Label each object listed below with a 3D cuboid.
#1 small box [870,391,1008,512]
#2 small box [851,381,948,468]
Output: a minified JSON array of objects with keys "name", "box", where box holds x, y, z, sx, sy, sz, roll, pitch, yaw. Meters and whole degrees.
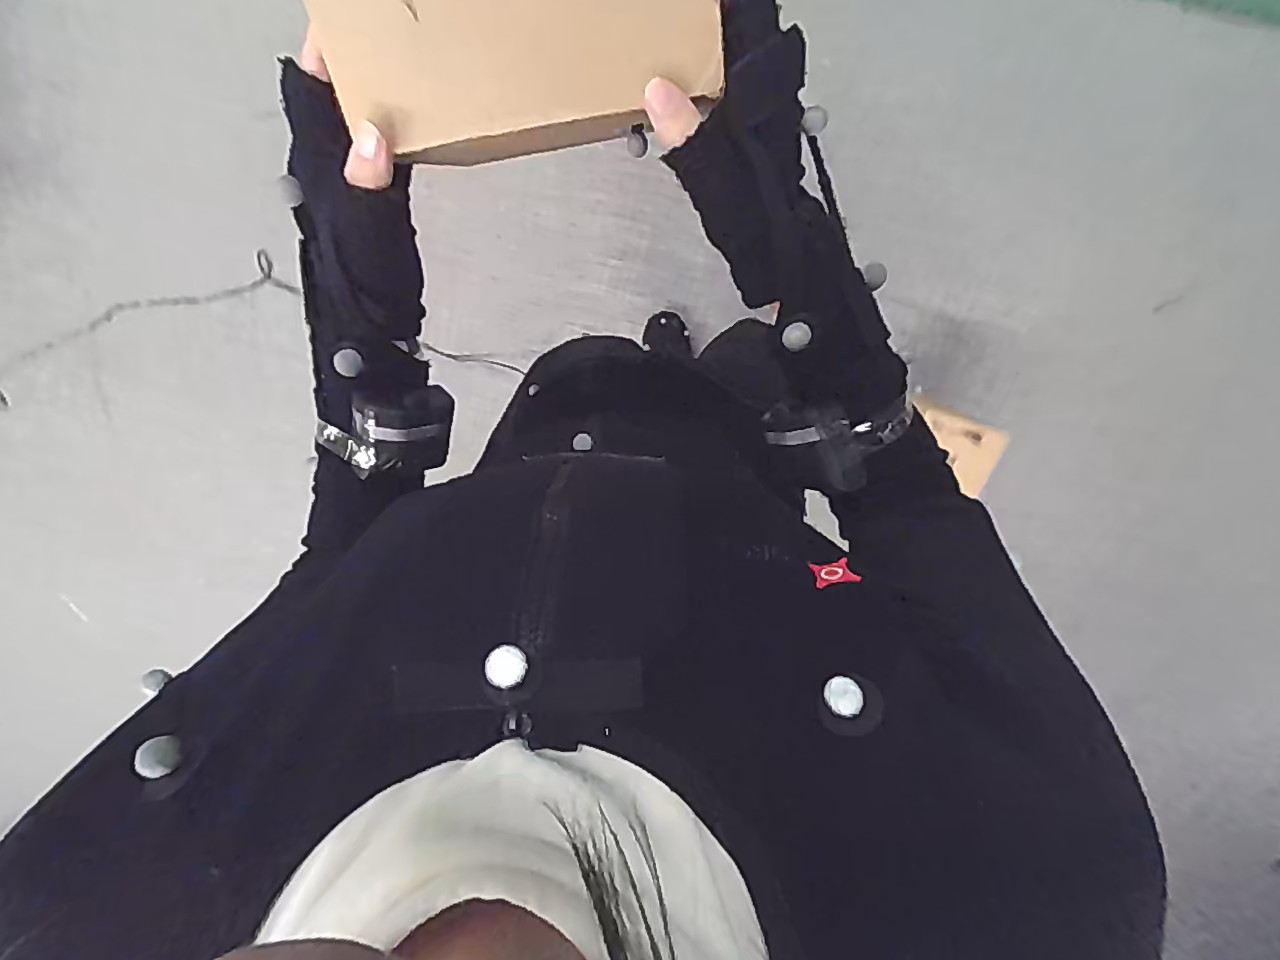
[{"name":"small box","box":[0.598,-0.065,1.115,0.168,0.176,0.179,18,111,0]},{"name":"small box","box":[0.613,-0.119,1.269,0.168,0.176,0.179,15,112,2]}]
